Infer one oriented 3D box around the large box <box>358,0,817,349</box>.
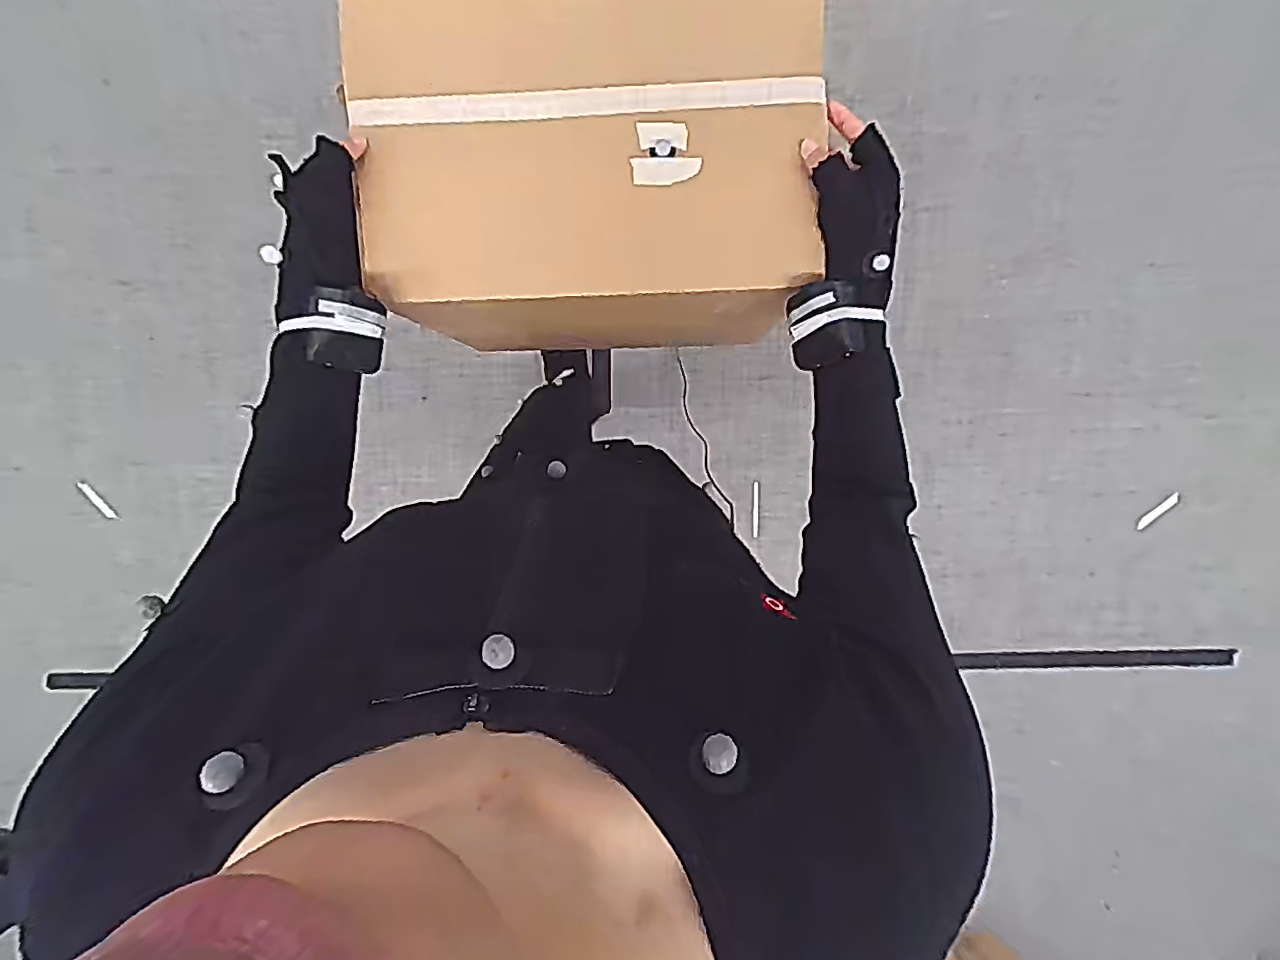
[{"bbox_3d":[-0.045,-0.339,0.627,0.408,0.320,0.320,-2,96,1],"label":"large box"}]
